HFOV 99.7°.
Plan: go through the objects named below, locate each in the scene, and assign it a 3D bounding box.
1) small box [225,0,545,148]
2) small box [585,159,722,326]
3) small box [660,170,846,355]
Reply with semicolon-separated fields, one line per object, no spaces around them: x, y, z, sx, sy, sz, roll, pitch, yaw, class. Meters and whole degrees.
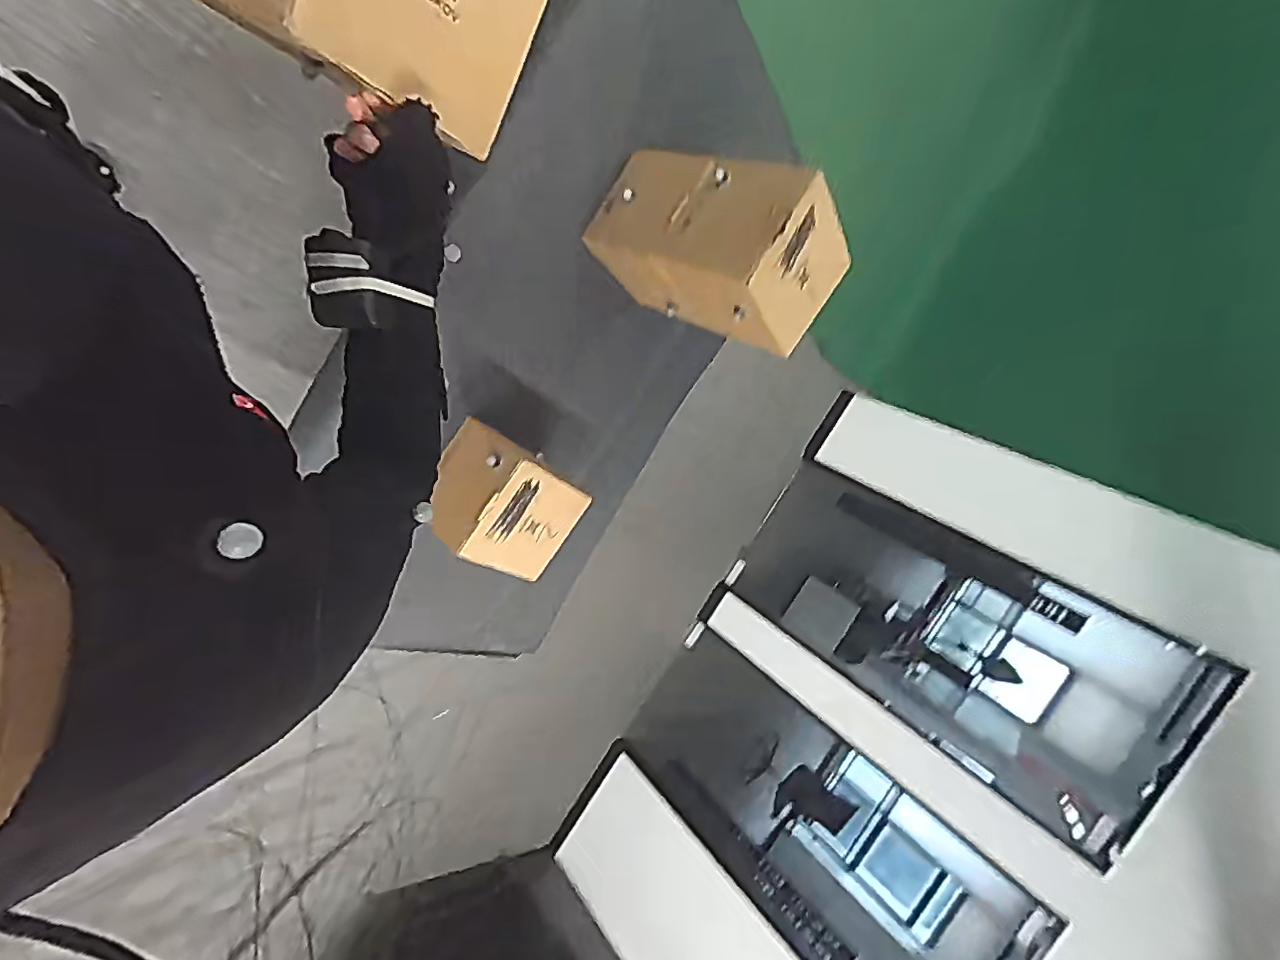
-0.191;-0.398;0.402;0.168;0.176;0.179;-5;128;-60;small box
0.048;-0.382;0.865;0.168;0.176;0.179;-57;142;1;small box
0.159;-0.310;0.767;0.168;0.176;0.179;-56;143;0;small box
